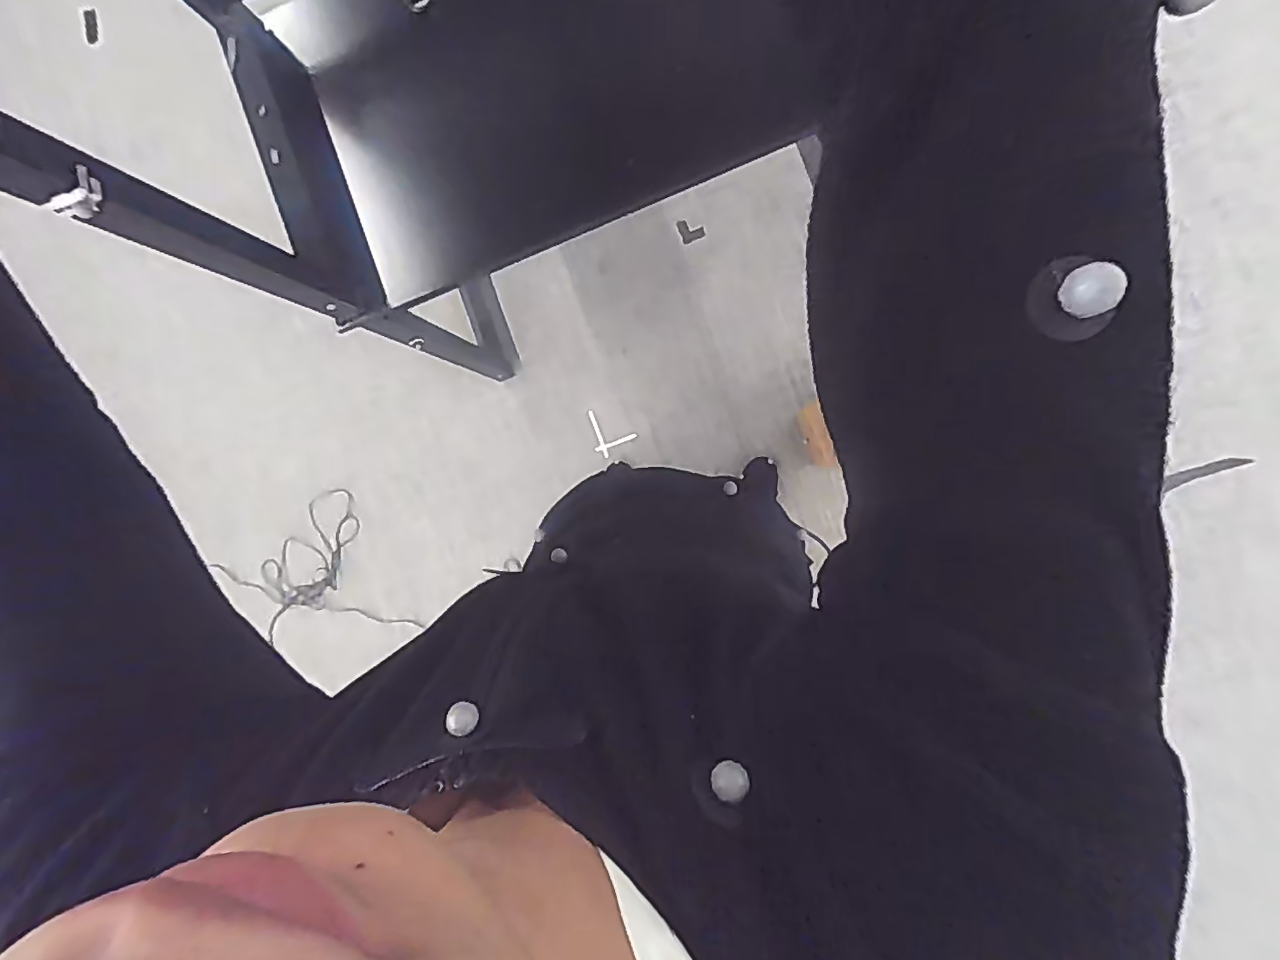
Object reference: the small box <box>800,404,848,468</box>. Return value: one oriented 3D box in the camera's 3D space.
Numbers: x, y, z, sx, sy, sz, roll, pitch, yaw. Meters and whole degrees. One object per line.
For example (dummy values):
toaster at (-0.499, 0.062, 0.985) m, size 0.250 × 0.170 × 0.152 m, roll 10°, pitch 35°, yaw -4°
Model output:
small box at (0.558, -0.140, 1.482) m, size 0.179 × 0.176 × 0.168 m, roll -22°, pitch 88°, yaw 9°
